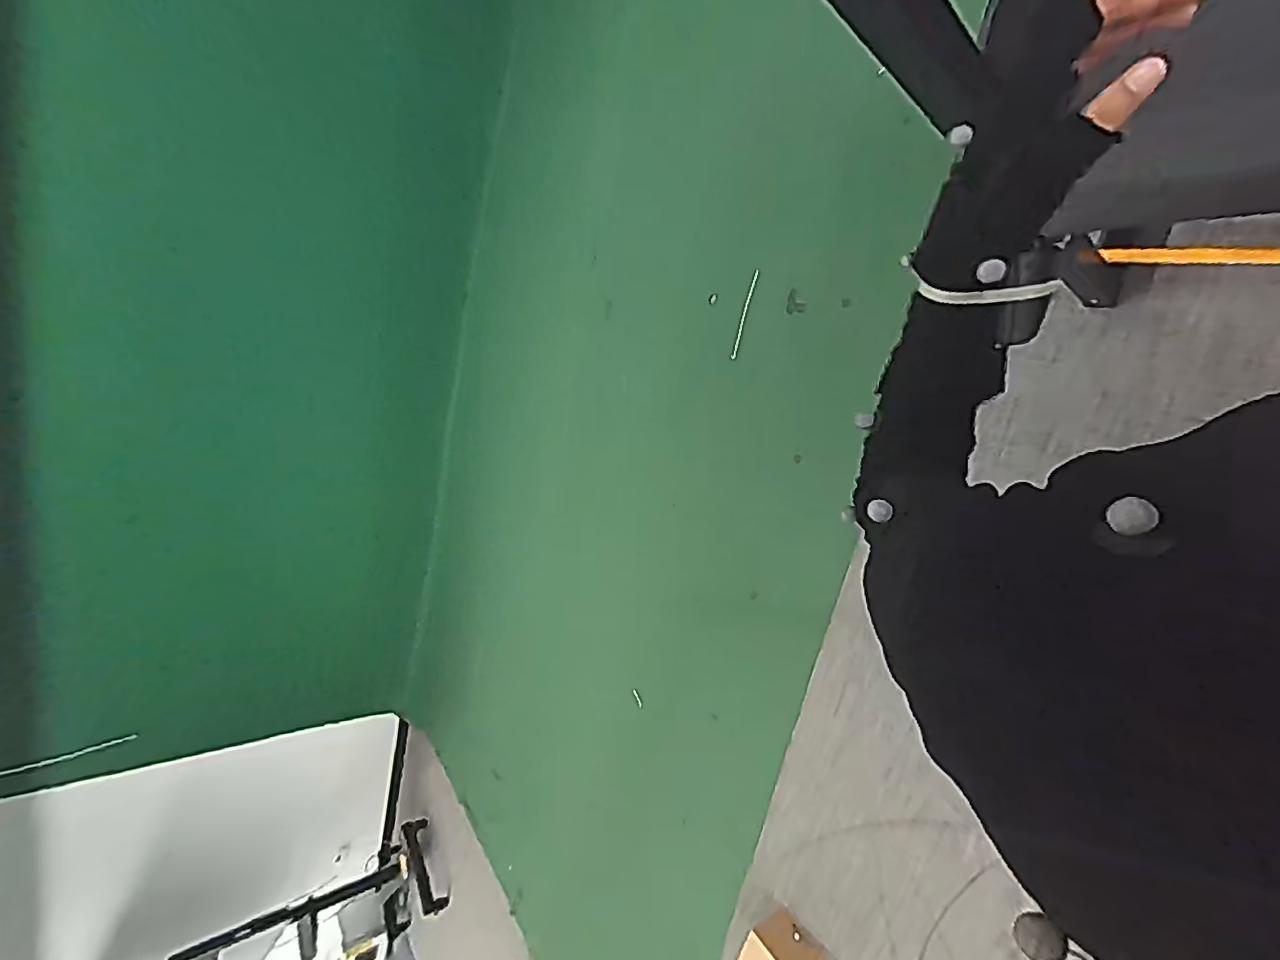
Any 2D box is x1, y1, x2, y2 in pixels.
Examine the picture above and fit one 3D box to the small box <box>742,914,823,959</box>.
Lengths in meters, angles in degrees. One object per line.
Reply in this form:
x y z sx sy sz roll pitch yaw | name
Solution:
0.422 1.475 1.627 0.168 0.176 0.179 32 110 46 | small box
